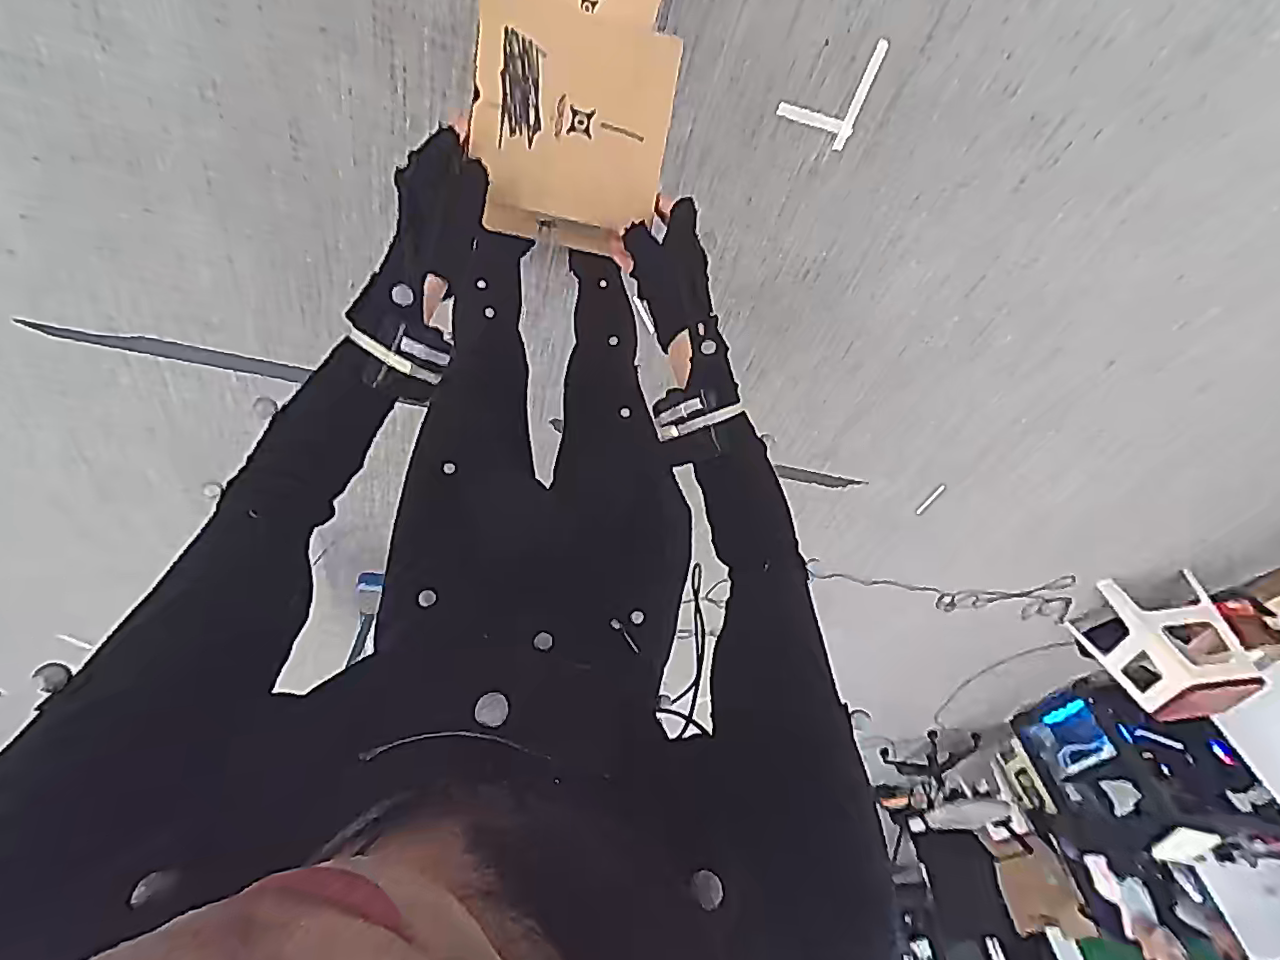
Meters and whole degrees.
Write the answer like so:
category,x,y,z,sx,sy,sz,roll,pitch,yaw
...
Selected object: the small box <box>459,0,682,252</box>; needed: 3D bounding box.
category,x,y,z,sx,sy,sz,roll,pitch,yaw
small box,-0.074,-0.346,0.557,0.179,0.176,0.168,9,104,-12
